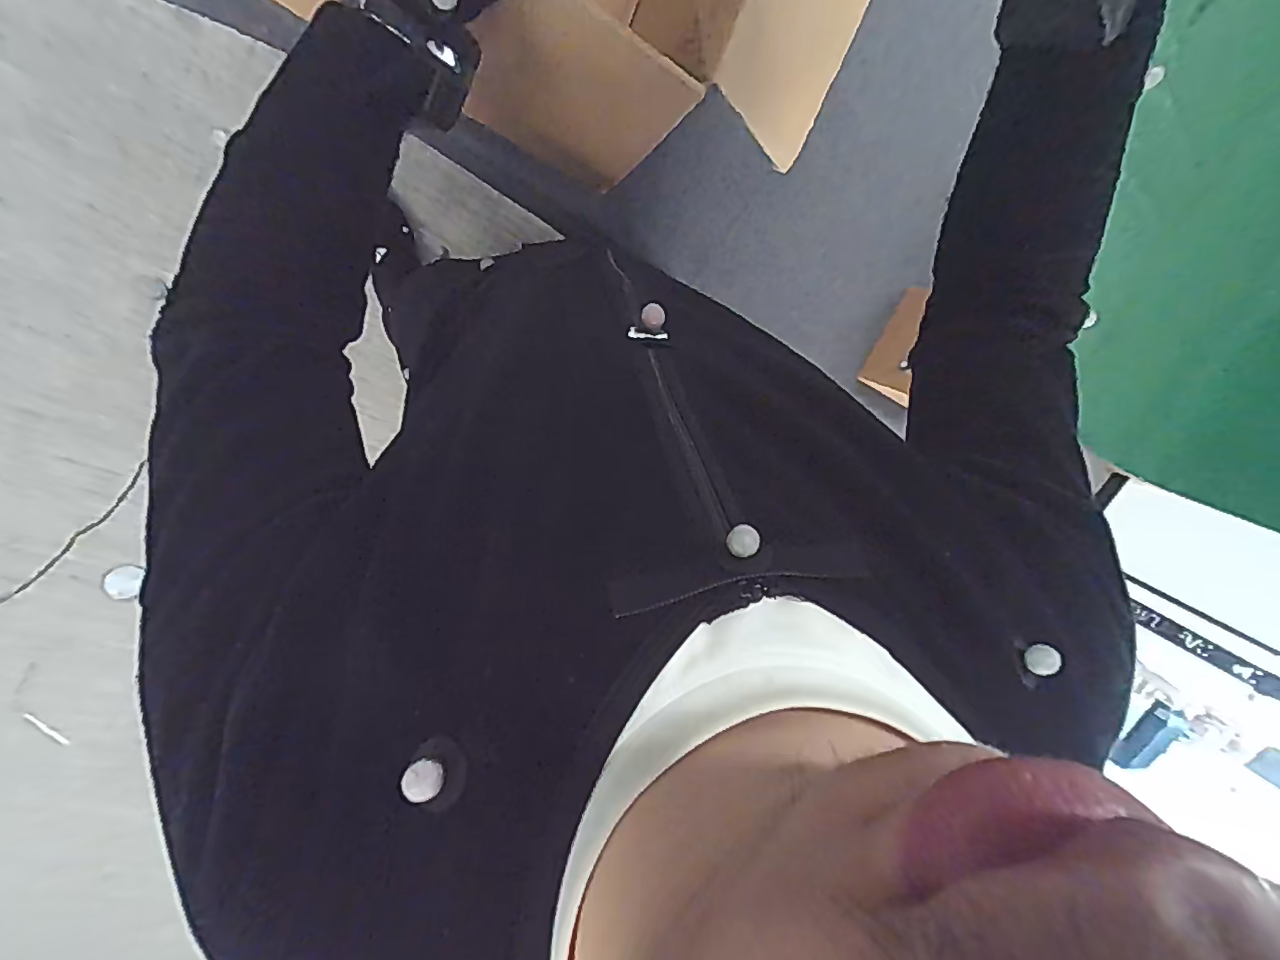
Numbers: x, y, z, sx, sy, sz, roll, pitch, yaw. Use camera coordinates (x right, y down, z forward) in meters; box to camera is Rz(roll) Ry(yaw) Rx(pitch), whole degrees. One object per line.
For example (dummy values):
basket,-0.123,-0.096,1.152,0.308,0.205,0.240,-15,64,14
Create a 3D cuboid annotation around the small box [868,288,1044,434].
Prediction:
small box,0.527,-0.208,0.929,0.168,0.176,0.179,19,106,-30
